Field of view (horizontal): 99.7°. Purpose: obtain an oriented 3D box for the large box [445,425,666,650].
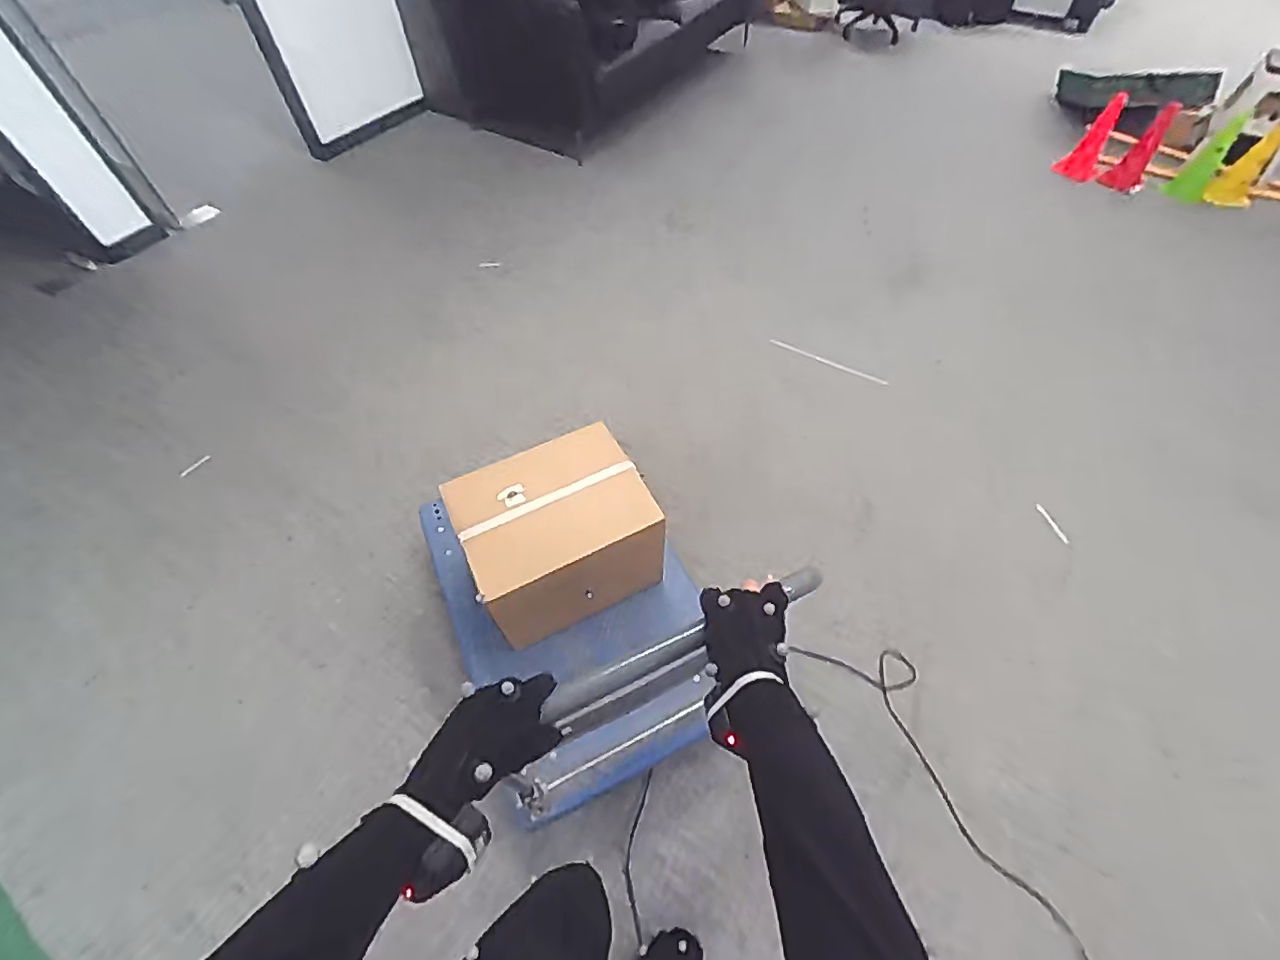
[{"bbox_3d":[-0.184,0.140,1.293,0.408,0.320,0.320,-25,58,-15],"label":"large box"}]
